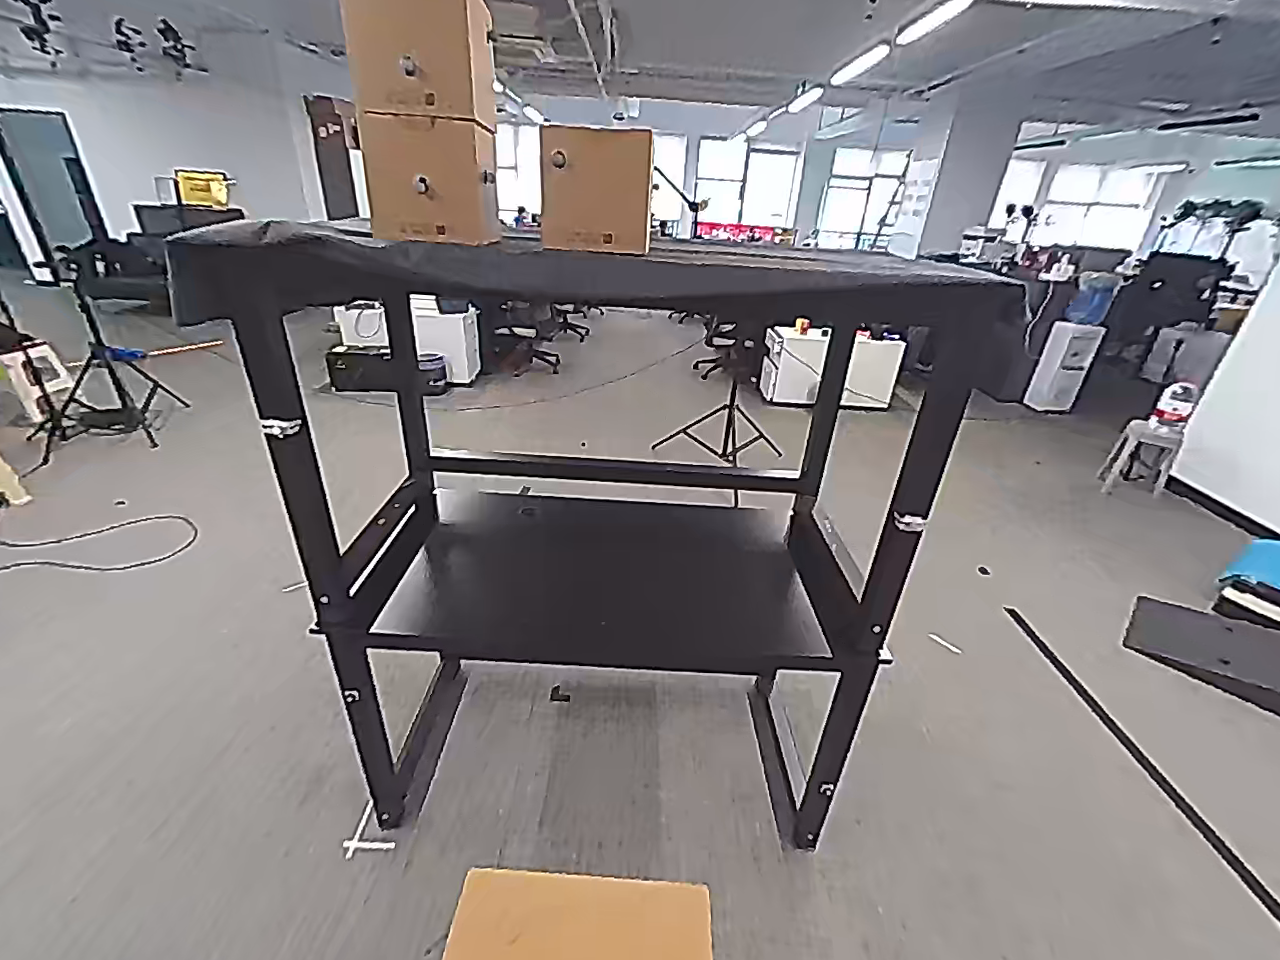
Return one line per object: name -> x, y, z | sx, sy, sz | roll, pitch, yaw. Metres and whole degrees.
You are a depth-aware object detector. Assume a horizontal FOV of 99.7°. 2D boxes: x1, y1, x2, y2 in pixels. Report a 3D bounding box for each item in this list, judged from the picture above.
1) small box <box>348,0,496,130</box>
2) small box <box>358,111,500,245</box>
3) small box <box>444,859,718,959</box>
small box -> -0.311, -0.624, 0.797 | 0.168, 0.176, 0.179 | 1, 26, -4
small box -> -0.323, -0.475, 0.868 | 0.168, 0.176, 0.179 | 2, 27, -5
small box -> -0.041, 0.374, 0.326 | 0.168, 0.176, 0.179 | 3, 28, 1
